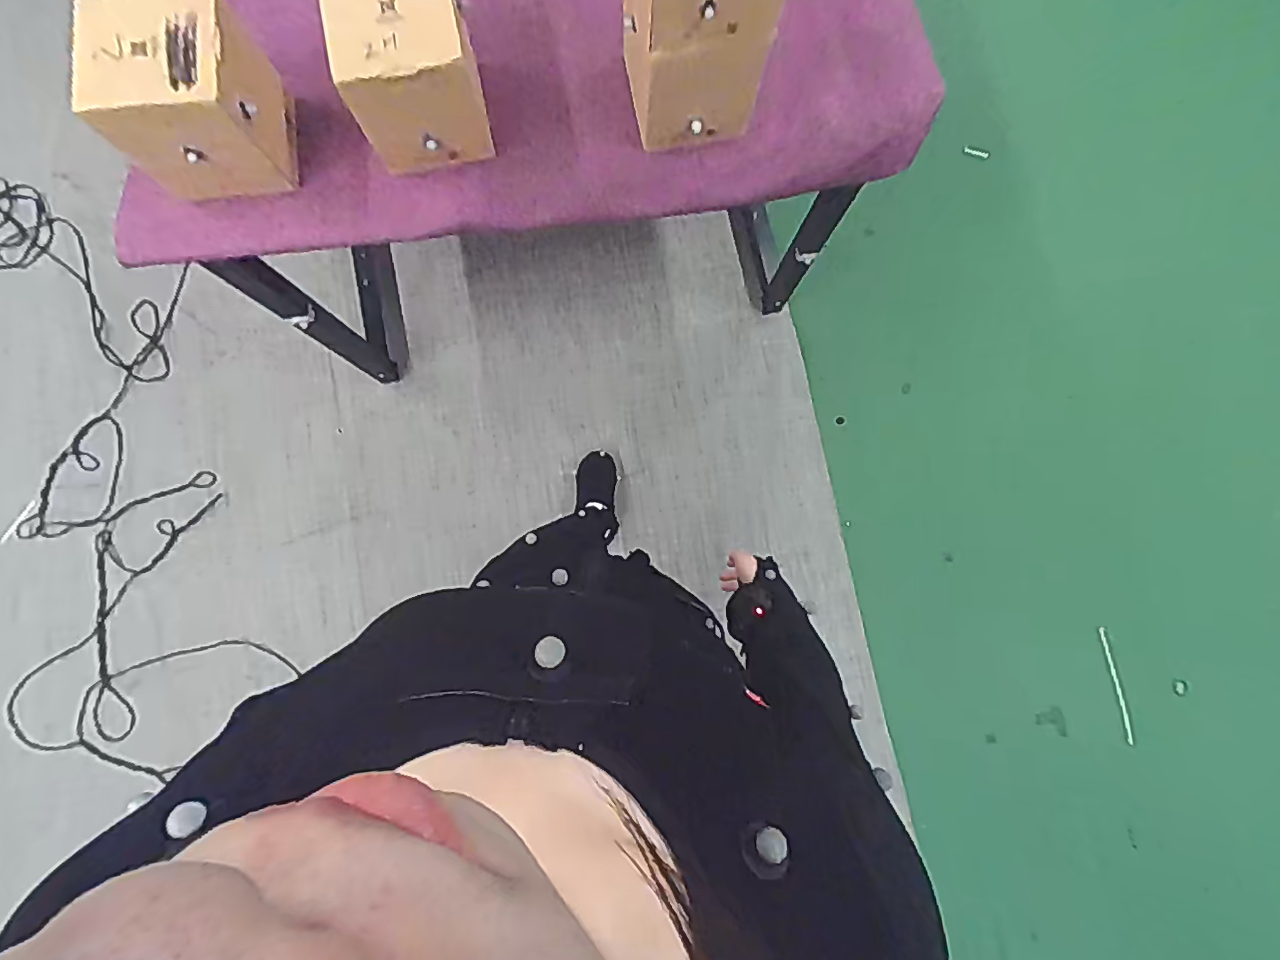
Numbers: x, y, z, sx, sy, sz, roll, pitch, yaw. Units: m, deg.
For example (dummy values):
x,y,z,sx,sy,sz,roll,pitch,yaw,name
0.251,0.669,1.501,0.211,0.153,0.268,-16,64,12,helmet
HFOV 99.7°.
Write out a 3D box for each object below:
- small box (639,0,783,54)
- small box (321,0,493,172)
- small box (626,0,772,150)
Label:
x,y,z,sx,sy,sz,roll,pitch,yaw,name
0.079,-0.647,0.622,0.168,0.176,0.179,-11,84,-3,small box
-0.319,-0.578,0.762,0.168,0.176,0.179,-12,83,-3,small box
0.073,-0.623,0.782,0.168,0.176,0.179,-11,84,-3,small box
